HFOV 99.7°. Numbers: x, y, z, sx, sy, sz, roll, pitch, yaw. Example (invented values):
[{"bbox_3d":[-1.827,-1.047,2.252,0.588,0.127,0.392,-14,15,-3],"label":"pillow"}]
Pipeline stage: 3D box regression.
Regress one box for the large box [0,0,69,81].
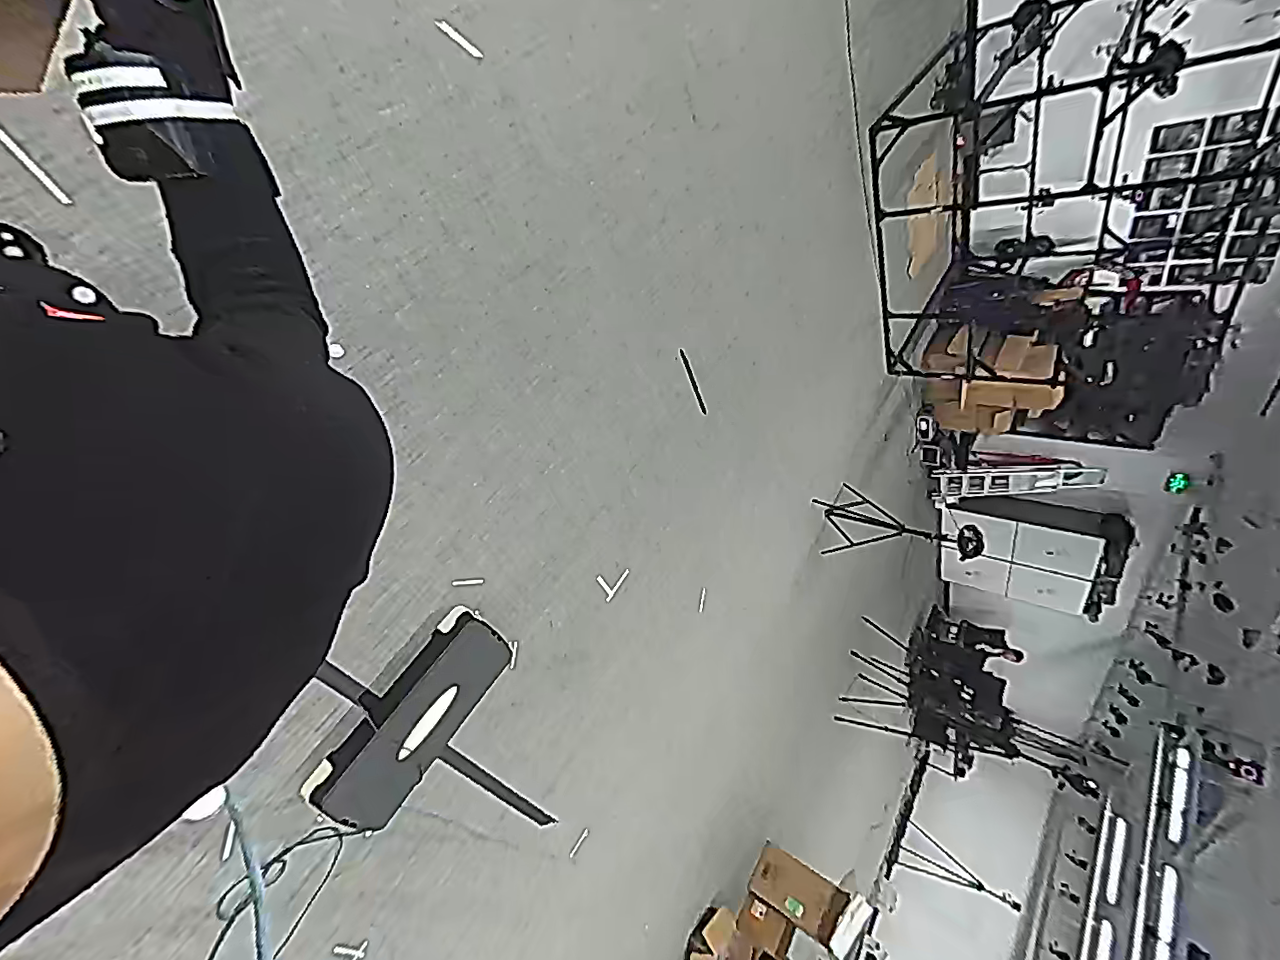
[{"bbox_3d":[-0.565,-0.362,0.193,0.408,0.320,0.320,-33,130,-40],"label":"large box"}]
